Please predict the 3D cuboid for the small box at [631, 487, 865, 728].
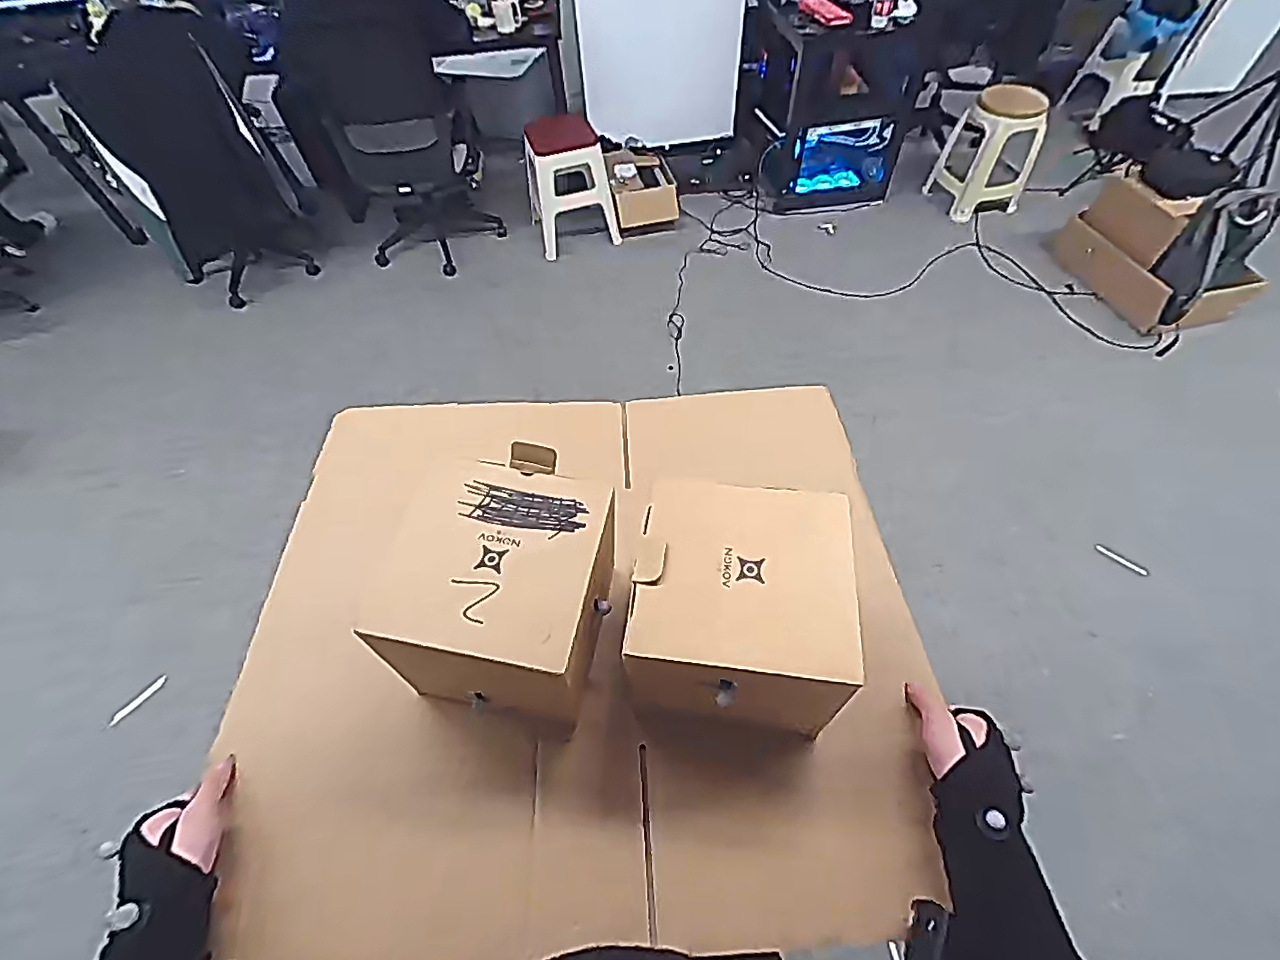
[{"bbox_3d":[0.097,0.126,0.514,0.179,0.176,0.168,4,55,9],"label":"small box"}]
